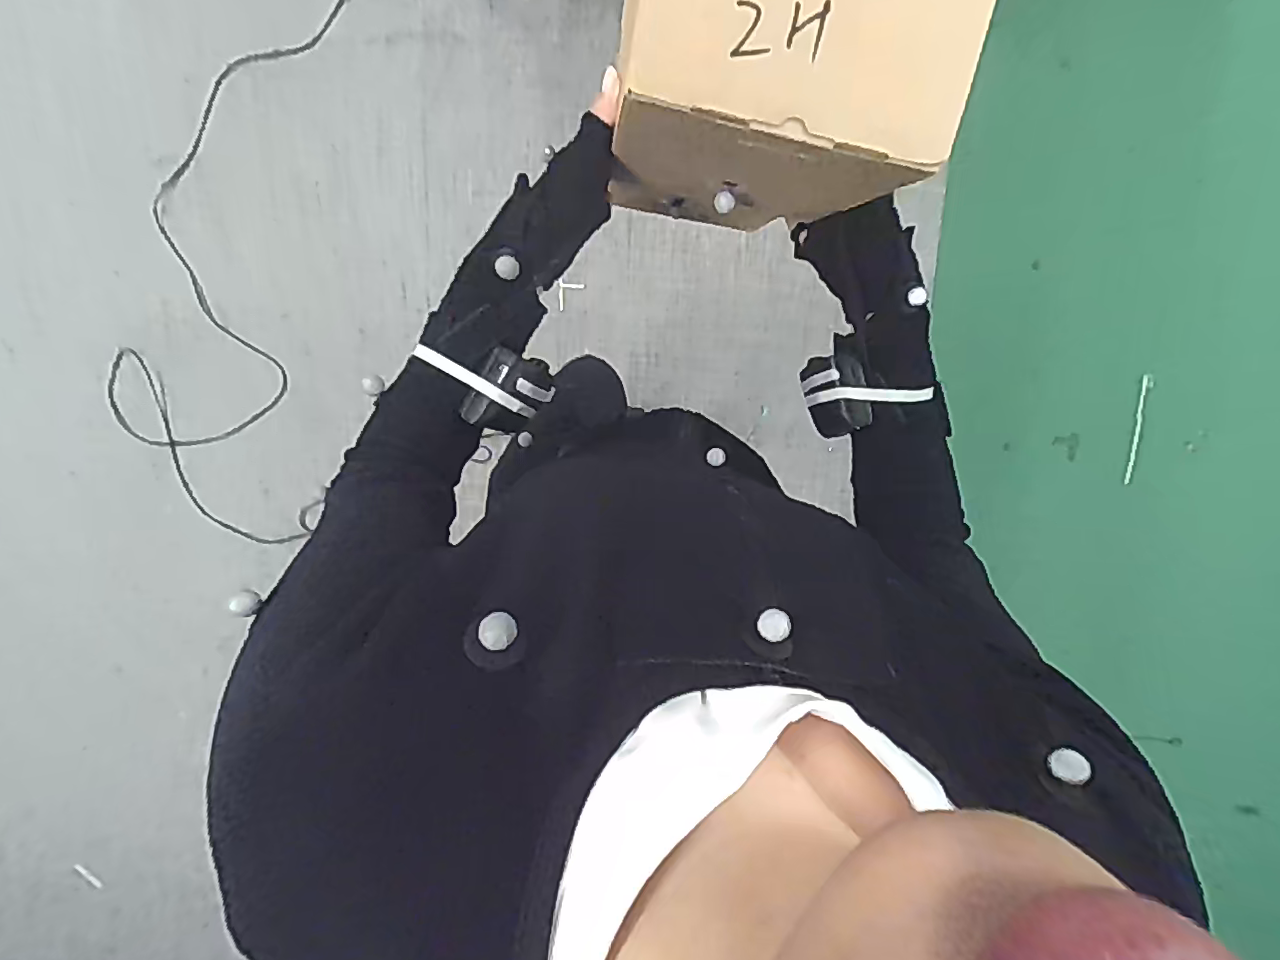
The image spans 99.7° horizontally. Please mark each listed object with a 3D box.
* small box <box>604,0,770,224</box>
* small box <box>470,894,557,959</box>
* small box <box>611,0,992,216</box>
[{"bbox_3d":[0.063,-0.339,0.466,0.168,0.176,0.179,6,107,-10],"label":"small box"},{"bbox_3d":[-0.264,1.008,1.131,0.168,0.176,0.179,1,98,-5],"label":"small box"},{"bbox_3d":[0.078,-0.274,0.314,0.168,0.176,0.179,8,107,-9],"label":"small box"}]
